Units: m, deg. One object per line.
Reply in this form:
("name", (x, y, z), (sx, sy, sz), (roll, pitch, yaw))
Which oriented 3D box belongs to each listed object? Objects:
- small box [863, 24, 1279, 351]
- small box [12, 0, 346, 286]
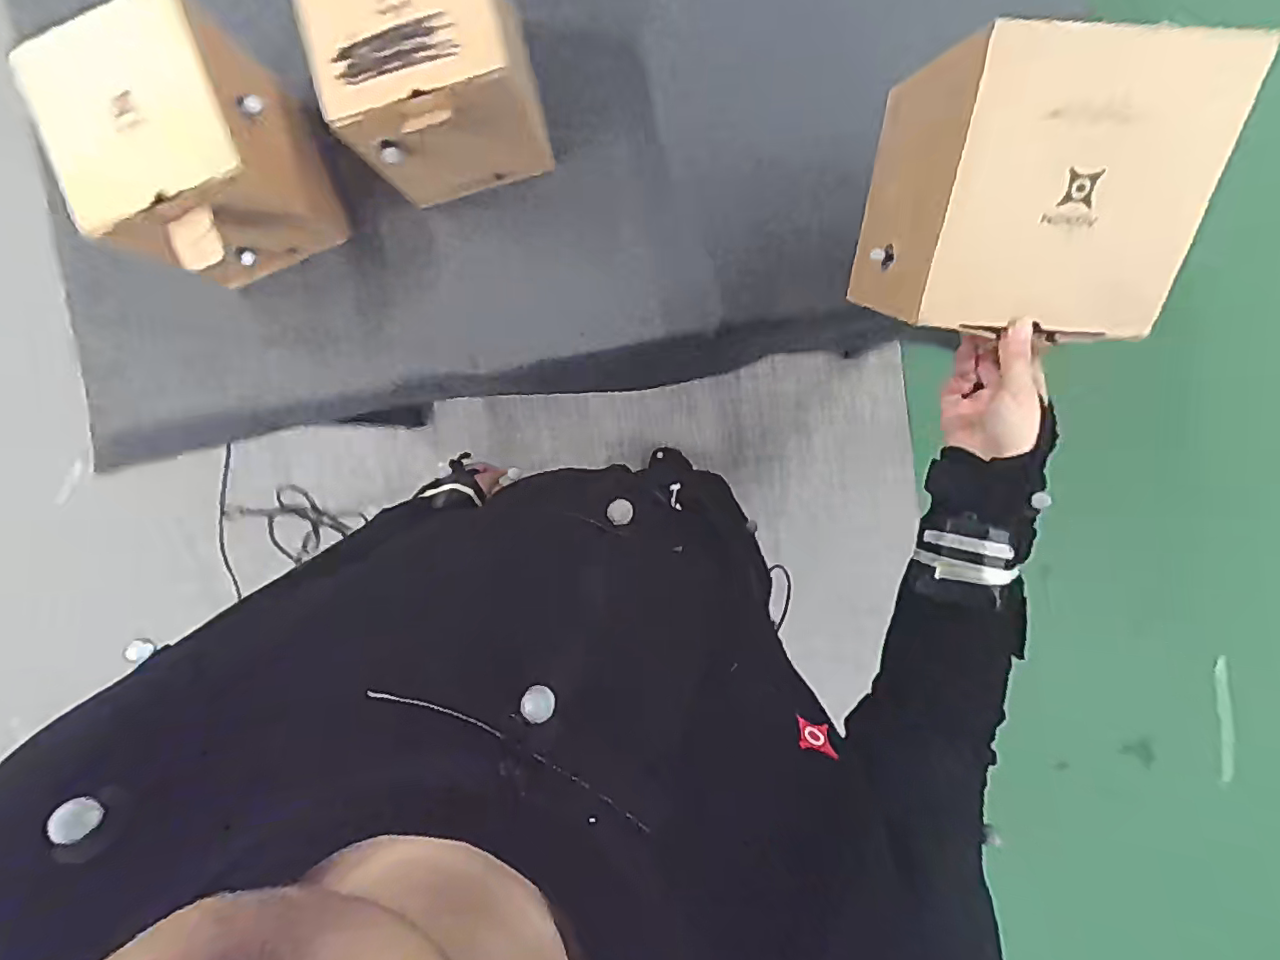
("small box", (0.292, -0.210, 0.418), (0.168, 0.176, 0.179), (5, 114, 1))
("small box", (-0.449, -0.331, 0.558), (0.168, 0.176, 0.179), (-21, 93, 4))
